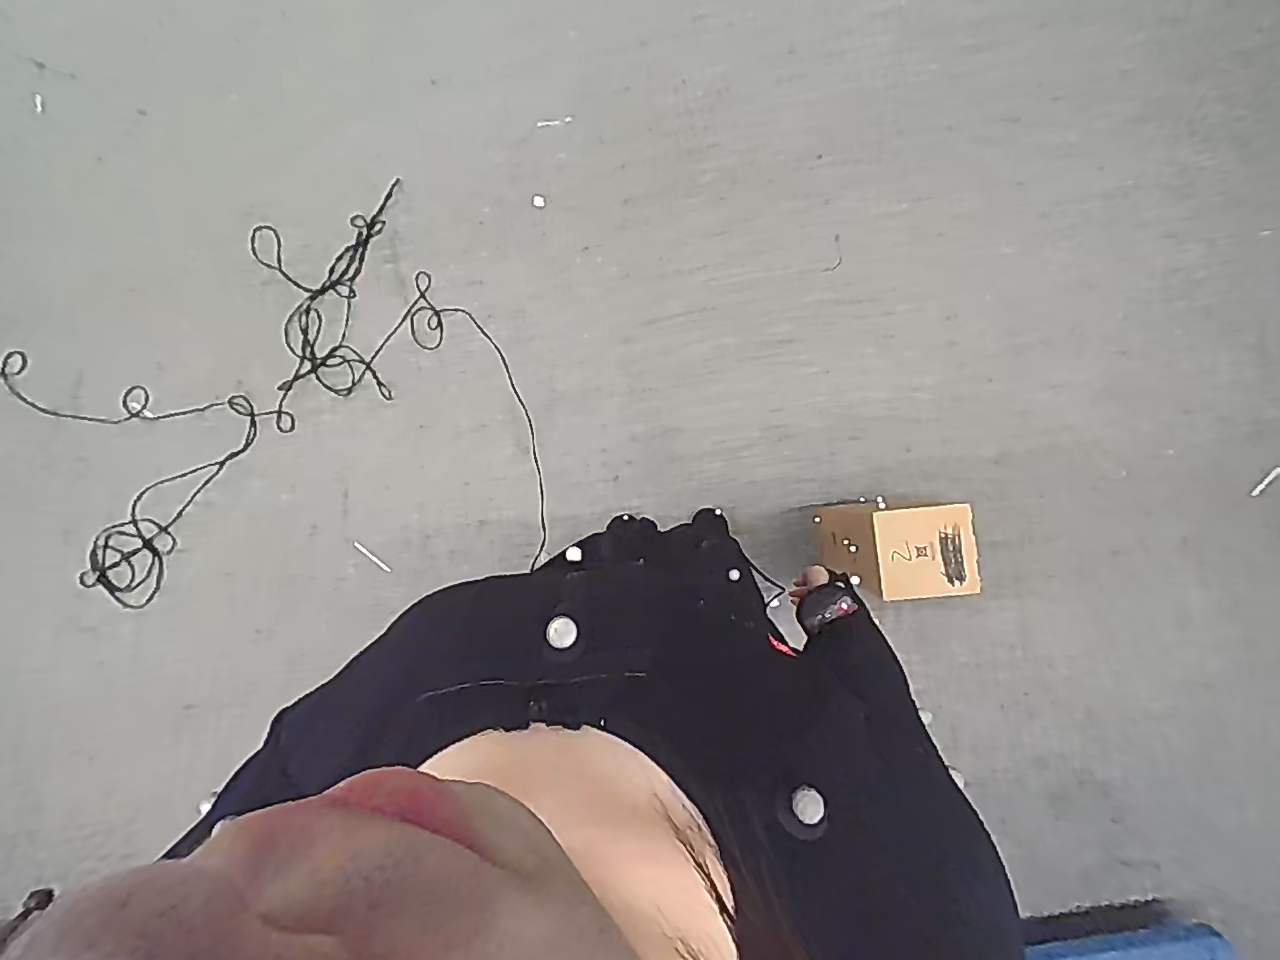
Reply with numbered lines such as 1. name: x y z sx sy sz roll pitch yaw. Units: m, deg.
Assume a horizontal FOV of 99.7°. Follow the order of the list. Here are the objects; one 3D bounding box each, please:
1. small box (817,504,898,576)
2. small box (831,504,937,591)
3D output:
1. small box: 0.564 0.152 1.392 0.179 0.176 0.168 -6 87 4
2. small box: 0.544 0.148 1.228 0.168 0.176 0.179 -6 88 5
